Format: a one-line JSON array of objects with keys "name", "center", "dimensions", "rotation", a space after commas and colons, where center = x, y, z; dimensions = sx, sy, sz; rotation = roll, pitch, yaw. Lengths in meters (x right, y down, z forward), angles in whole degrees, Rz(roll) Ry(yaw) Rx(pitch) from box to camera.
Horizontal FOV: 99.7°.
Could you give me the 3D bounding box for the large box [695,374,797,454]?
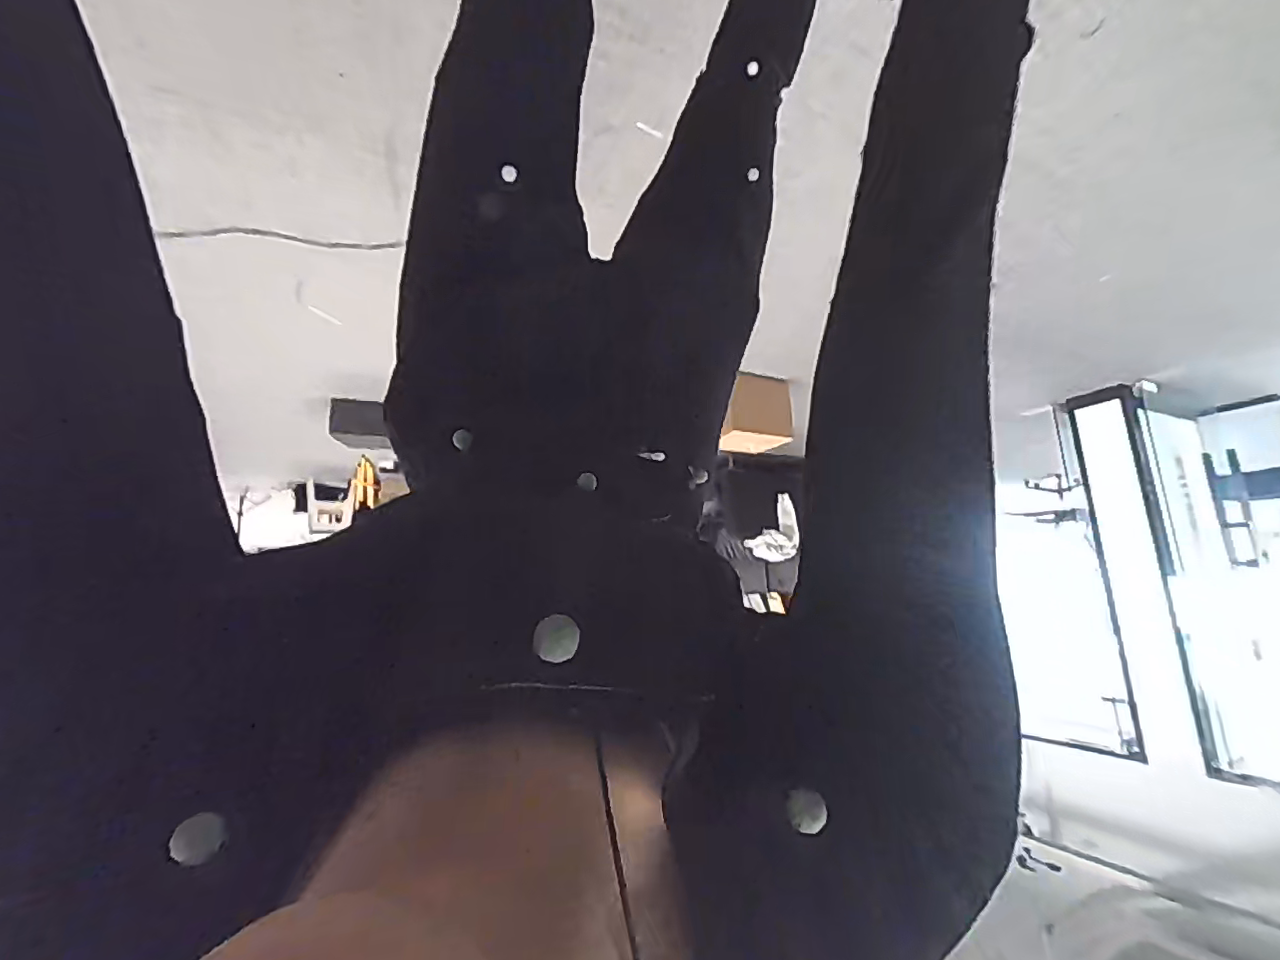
[{"name": "large box", "center": [0.538, -0.333, 2.794], "dimensions": [0.408, 0.320, 0.320], "rotation": [3, 168, -29]}]
